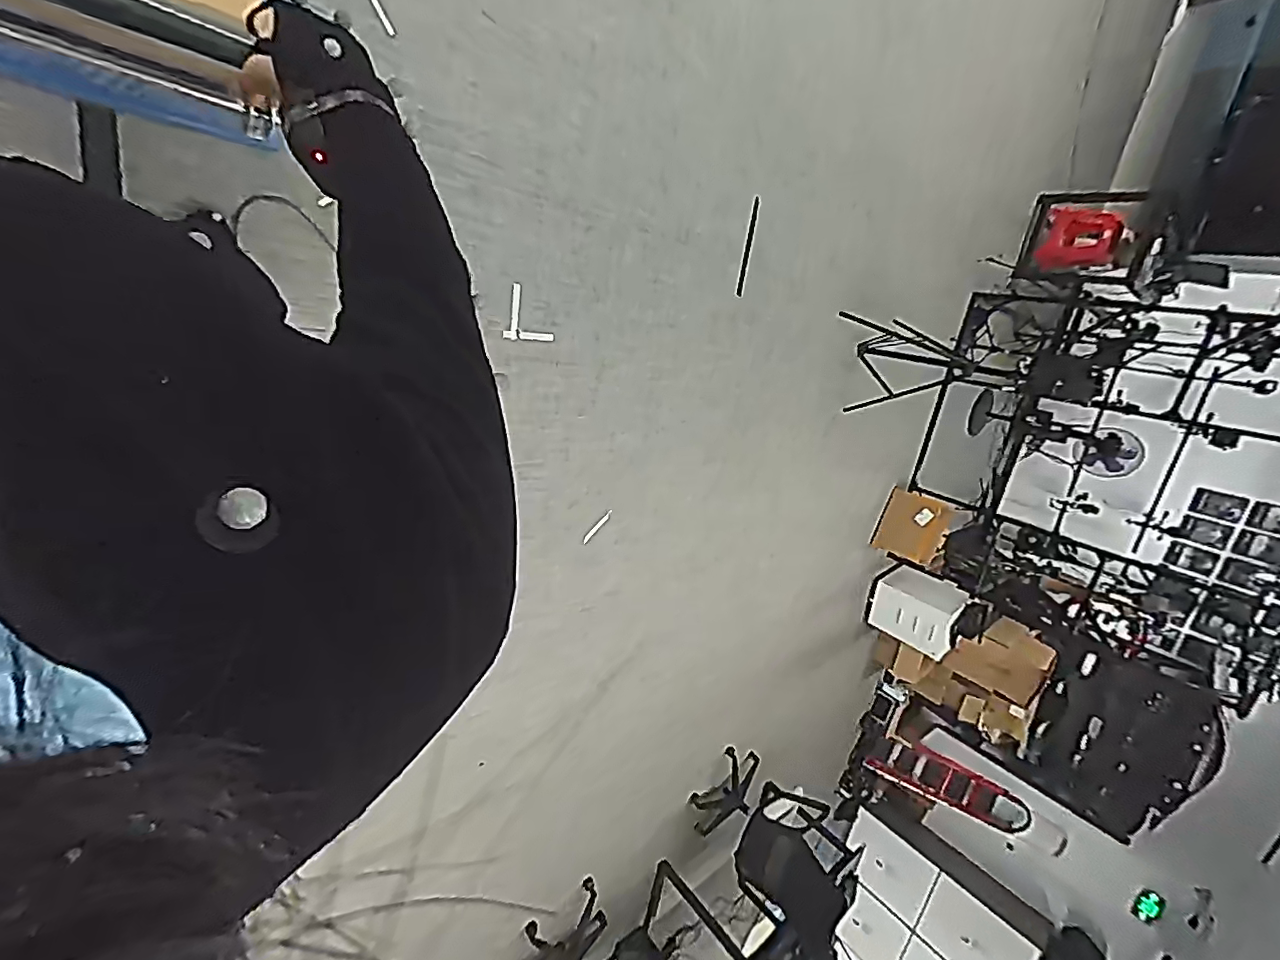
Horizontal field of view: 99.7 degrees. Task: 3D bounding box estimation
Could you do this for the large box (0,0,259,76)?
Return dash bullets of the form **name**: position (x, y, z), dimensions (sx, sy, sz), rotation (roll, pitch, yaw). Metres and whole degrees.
- **large box**: position (-0.743, -0.777, 0.663), dimensions (0.408, 0.320, 0.320), rotation (-6, 114, -44)
